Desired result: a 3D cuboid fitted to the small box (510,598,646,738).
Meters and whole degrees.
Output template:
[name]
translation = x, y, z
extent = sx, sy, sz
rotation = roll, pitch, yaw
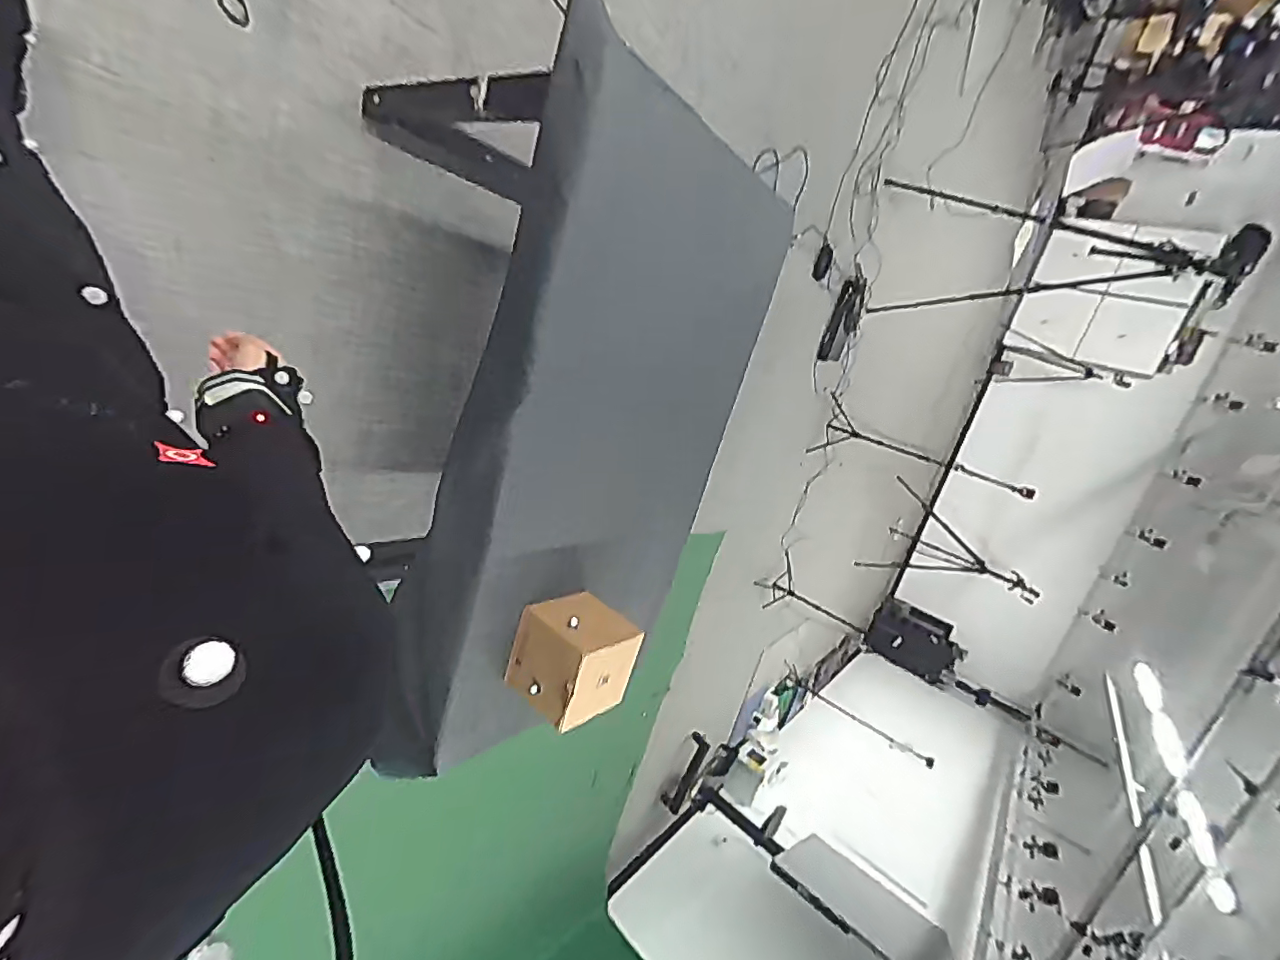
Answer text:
[small box]
translation = -0.123, 0.350, 1.040
extent = 0.179, 0.176, 0.168
rotation = -1, 114, -54
